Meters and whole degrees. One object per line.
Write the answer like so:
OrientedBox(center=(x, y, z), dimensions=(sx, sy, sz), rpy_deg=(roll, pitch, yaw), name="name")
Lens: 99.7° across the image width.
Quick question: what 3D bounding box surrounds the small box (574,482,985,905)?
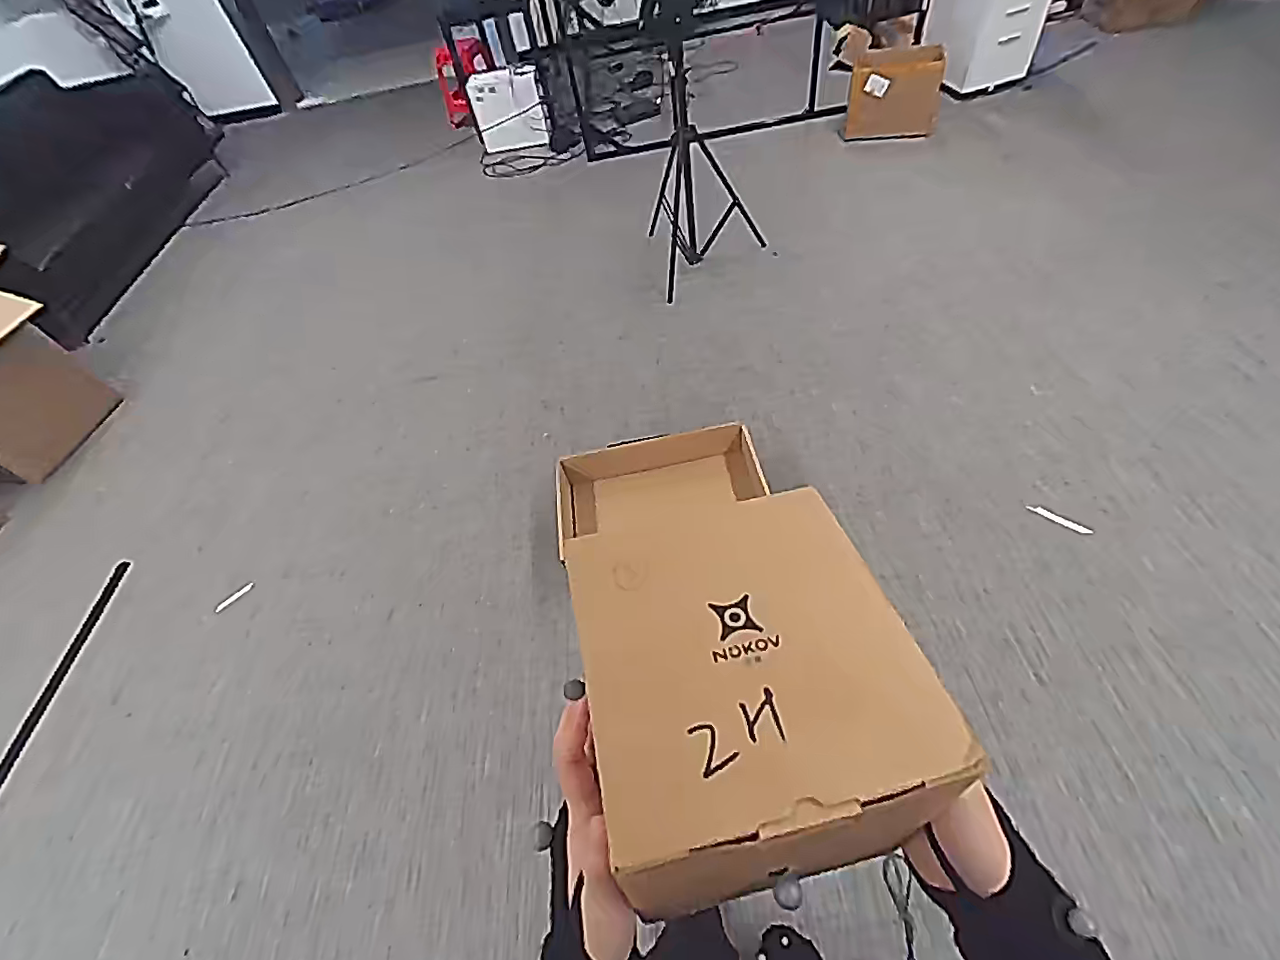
OrientedBox(center=(0.059, 0.131, 0.340), dimensions=(0.168, 0.176, 0.179), rpy_deg=(-12, 46, -5), name="small box")
